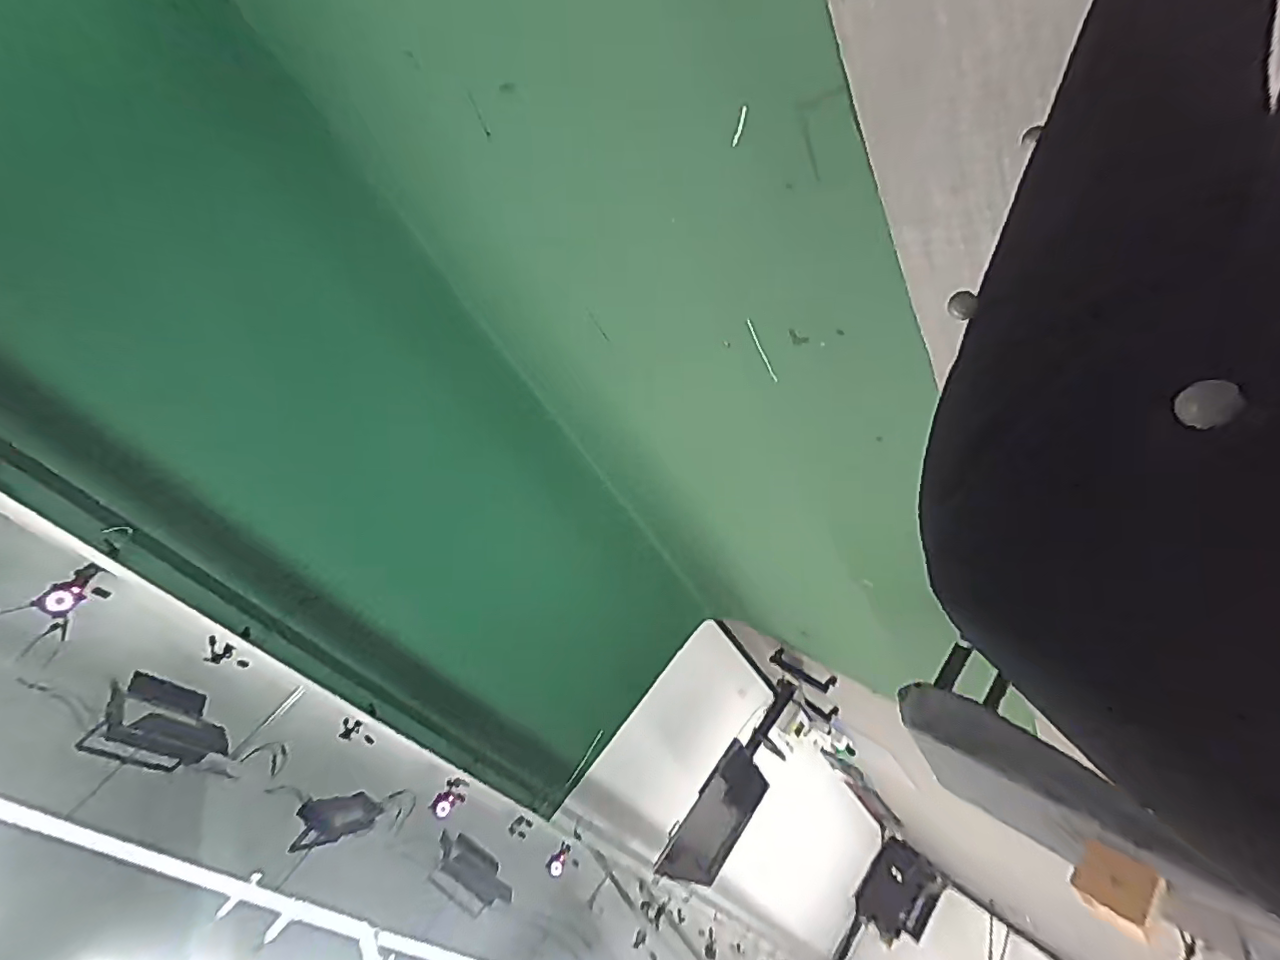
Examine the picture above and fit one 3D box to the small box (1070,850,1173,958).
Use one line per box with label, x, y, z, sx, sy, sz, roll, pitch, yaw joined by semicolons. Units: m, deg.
small box;1.428;1.245;1.605;0.168;0.176;0.179;51;161;-26
